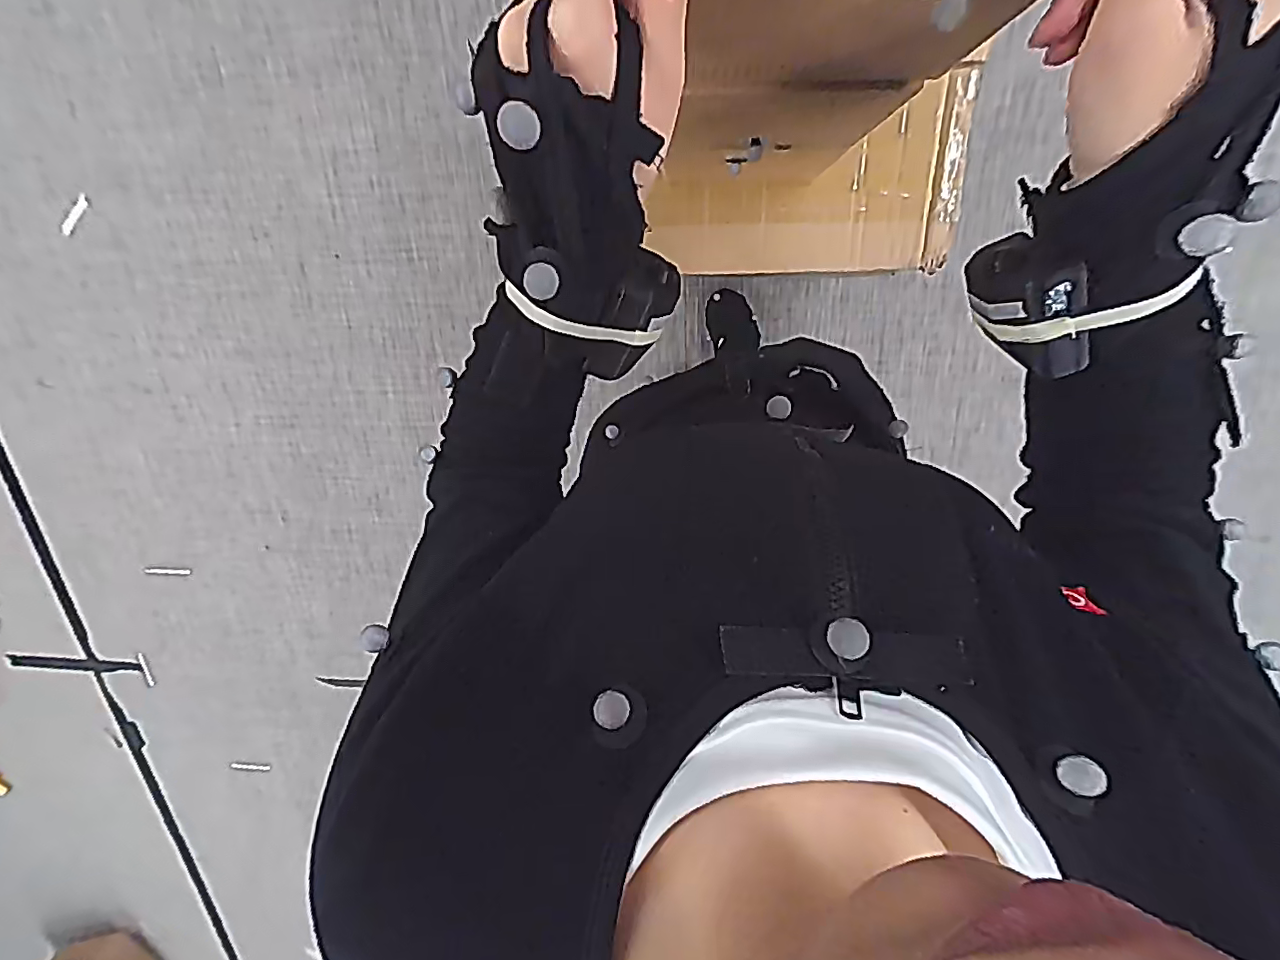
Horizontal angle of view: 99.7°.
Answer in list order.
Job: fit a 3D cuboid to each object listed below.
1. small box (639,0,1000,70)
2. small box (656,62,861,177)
[{"bbox_3d":[0.086,-0.296,0.223,0.179,0.176,0.168,2,110,5],"label":"small box"},{"bbox_3d":[0.110,-0.406,0.532,0.179,0.176,0.168,2,110,5],"label":"small box"}]
